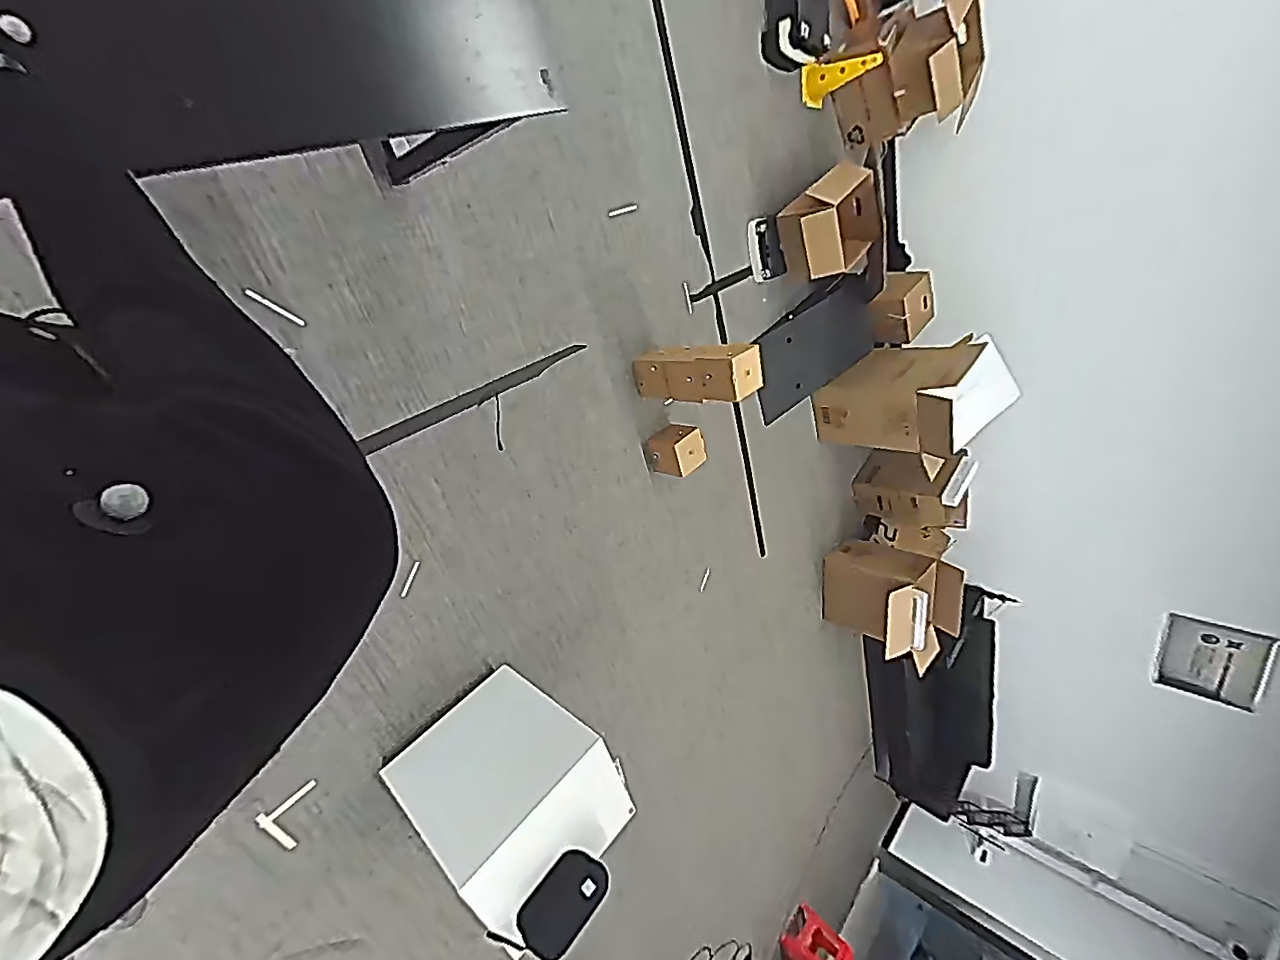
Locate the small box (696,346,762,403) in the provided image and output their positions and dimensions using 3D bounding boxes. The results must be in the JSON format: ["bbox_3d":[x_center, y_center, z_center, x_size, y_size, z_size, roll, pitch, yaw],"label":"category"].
[{"bbox_3d":[0.337,-0.404,2.046,0.179,0.176,0.168,-34,122,-35],"label":"small box"}]

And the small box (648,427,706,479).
[{"bbox_3d":[0.165,-0.126,2.412,0.179,0.176,0.168,-37,122,-33],"label":"small box"}]

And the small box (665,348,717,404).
[{"bbox_3d":[0.220,-0.418,2.159,0.168,0.176,0.179,-36,124,-34],"label":"small box"}]
